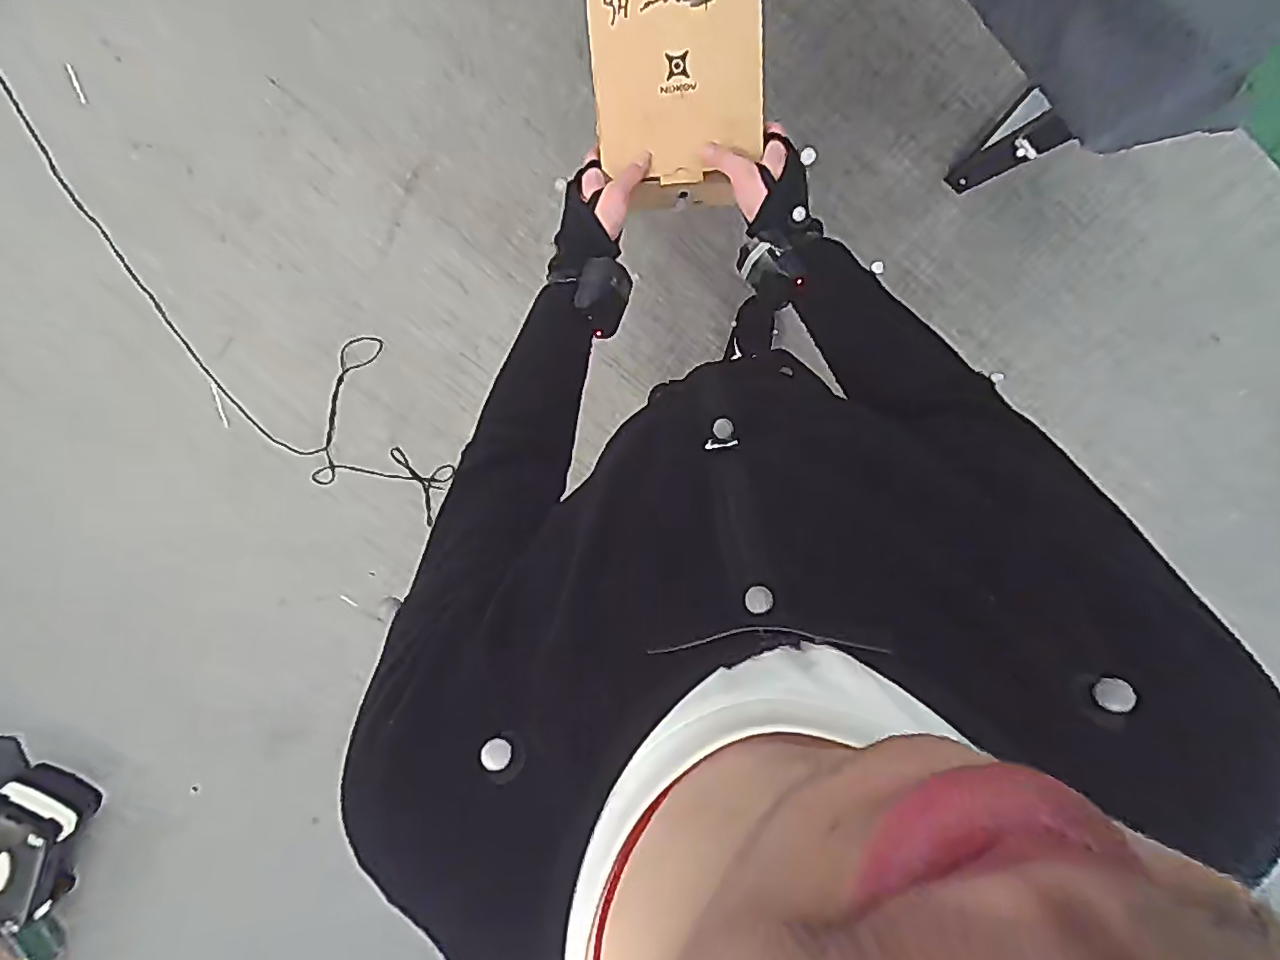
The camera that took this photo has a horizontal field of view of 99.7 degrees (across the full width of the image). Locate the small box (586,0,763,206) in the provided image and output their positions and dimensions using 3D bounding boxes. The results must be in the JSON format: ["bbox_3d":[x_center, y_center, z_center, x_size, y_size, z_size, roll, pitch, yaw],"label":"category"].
[{"bbox_3d":[0.044,-0.420,0.607,0.168,0.176,0.179,-5,106,7],"label":"small box"}]
